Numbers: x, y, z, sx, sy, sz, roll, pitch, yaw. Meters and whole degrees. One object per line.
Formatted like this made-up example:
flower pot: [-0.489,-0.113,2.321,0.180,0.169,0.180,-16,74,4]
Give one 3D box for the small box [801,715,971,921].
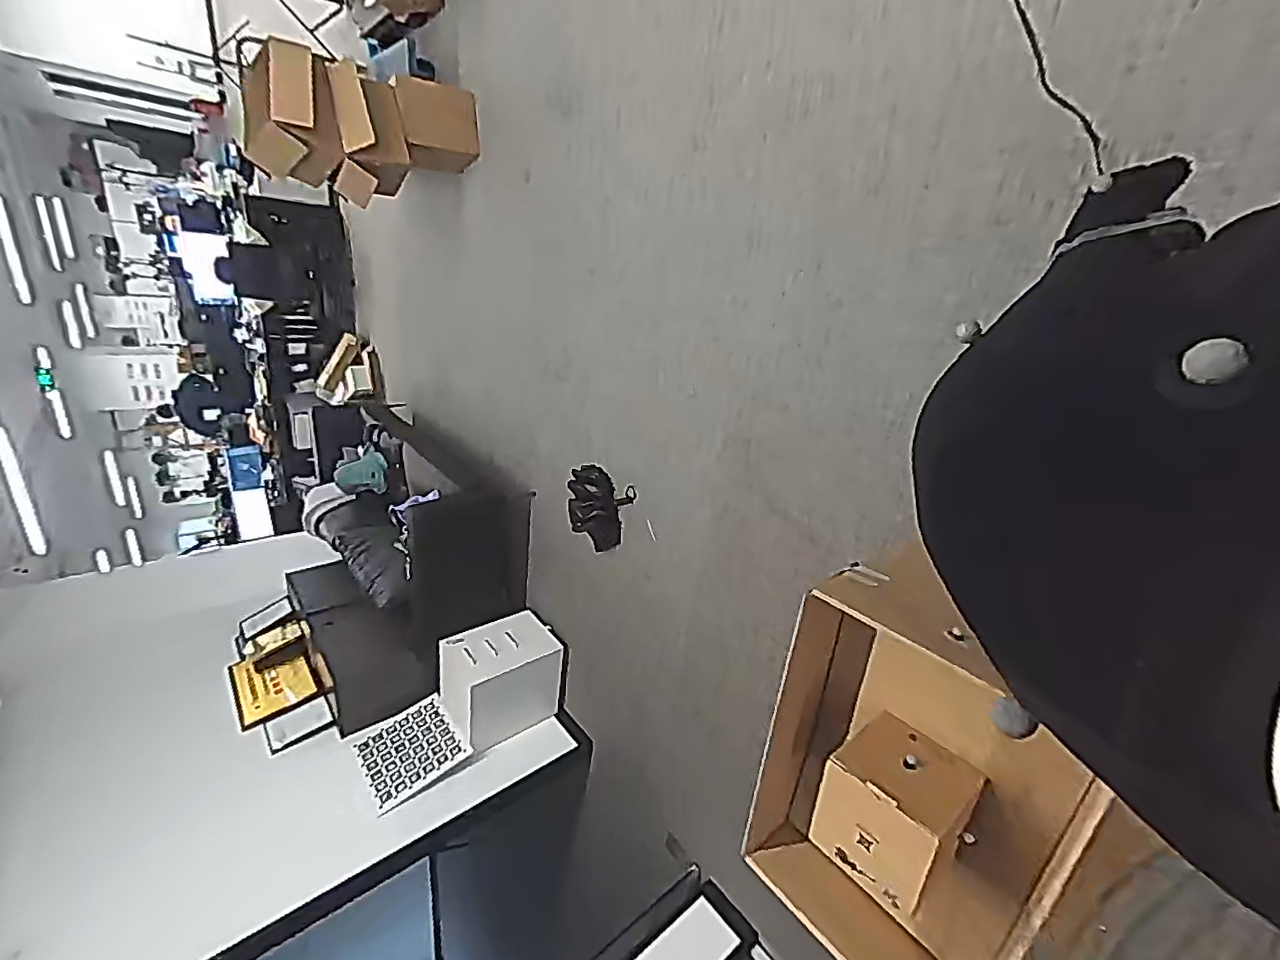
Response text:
small box: [0.381,0.504,0.836,0.168,0.176,0.179,27,119,45]
